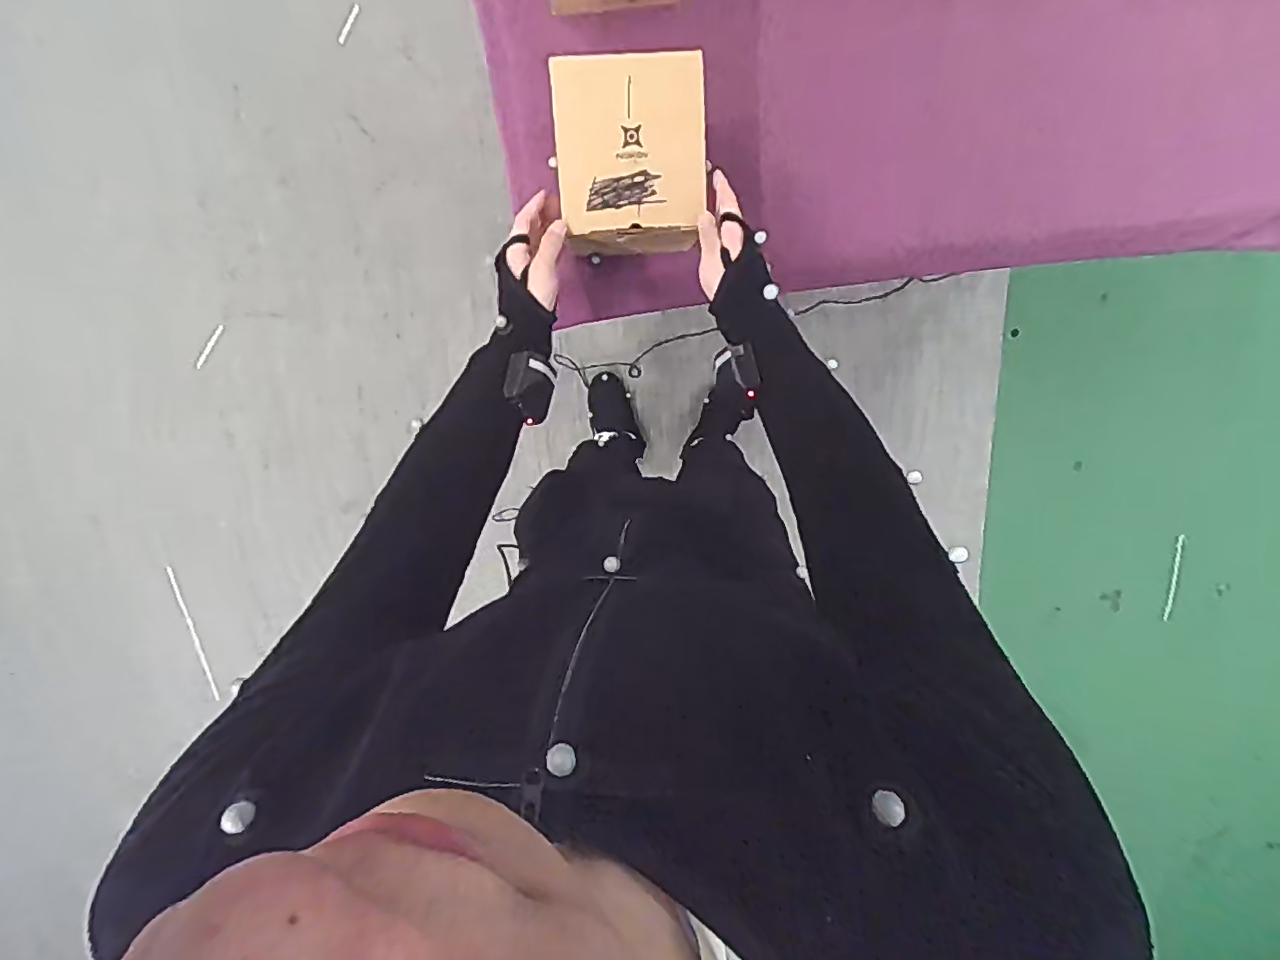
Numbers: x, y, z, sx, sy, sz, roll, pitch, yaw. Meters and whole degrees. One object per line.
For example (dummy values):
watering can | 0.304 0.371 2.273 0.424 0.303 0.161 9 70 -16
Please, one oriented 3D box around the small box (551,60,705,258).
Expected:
small box | -0.014 -0.379 0.672 0.168 0.176 0.179 -4 104 -2
